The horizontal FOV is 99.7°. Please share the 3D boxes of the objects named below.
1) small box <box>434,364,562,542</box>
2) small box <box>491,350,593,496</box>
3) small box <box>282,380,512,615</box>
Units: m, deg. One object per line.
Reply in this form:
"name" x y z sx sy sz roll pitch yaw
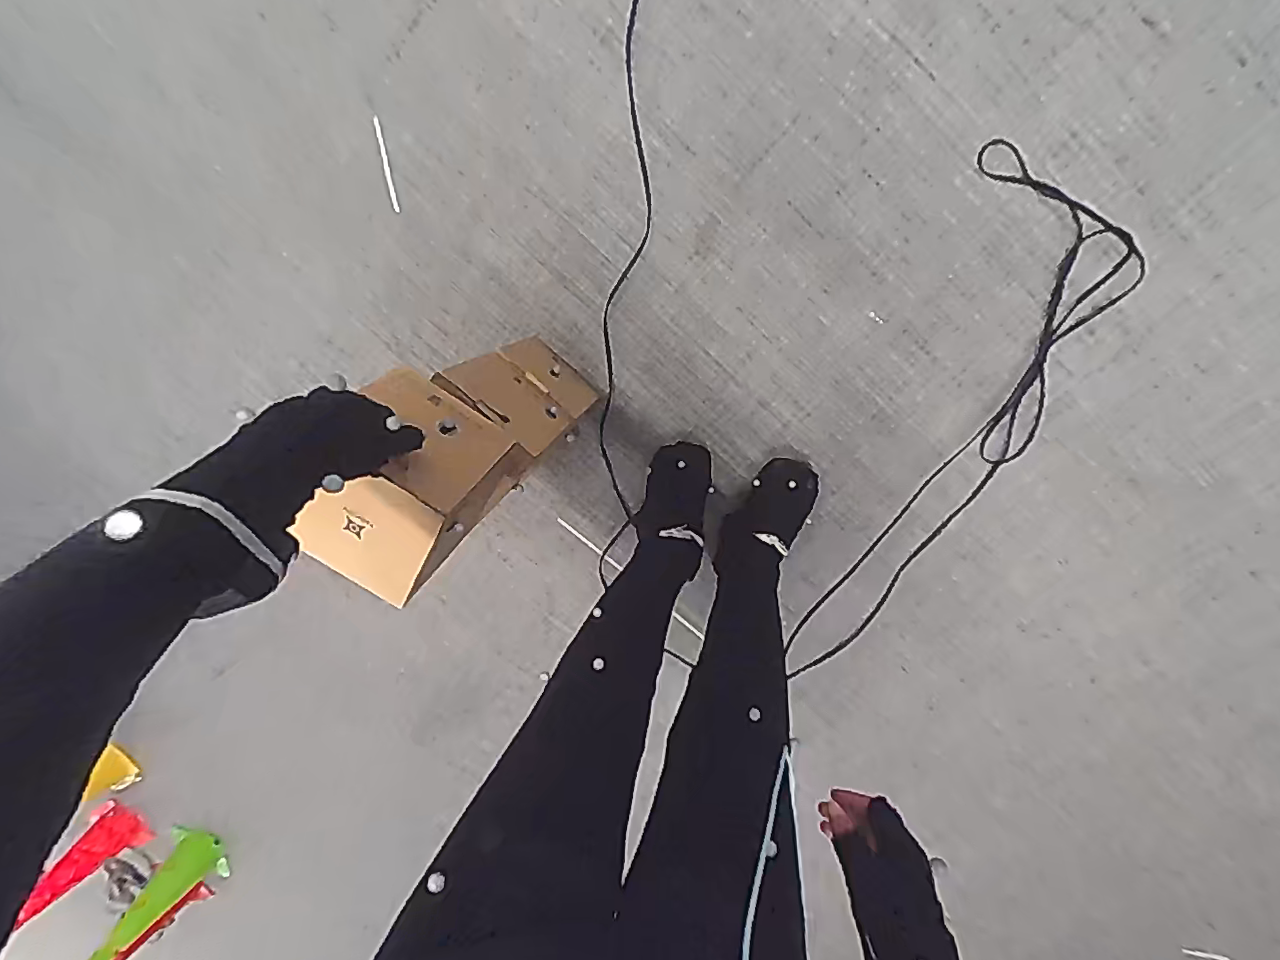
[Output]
"small box" -0.236 -0.047 0.798 0.168 0.176 0.179 43 114 -8
"small box" -0.201 -0.109 0.949 0.168 0.176 0.179 41 112 -4
"small box" -0.276 0.016 0.635 0.168 0.176 0.179 33 125 -5
